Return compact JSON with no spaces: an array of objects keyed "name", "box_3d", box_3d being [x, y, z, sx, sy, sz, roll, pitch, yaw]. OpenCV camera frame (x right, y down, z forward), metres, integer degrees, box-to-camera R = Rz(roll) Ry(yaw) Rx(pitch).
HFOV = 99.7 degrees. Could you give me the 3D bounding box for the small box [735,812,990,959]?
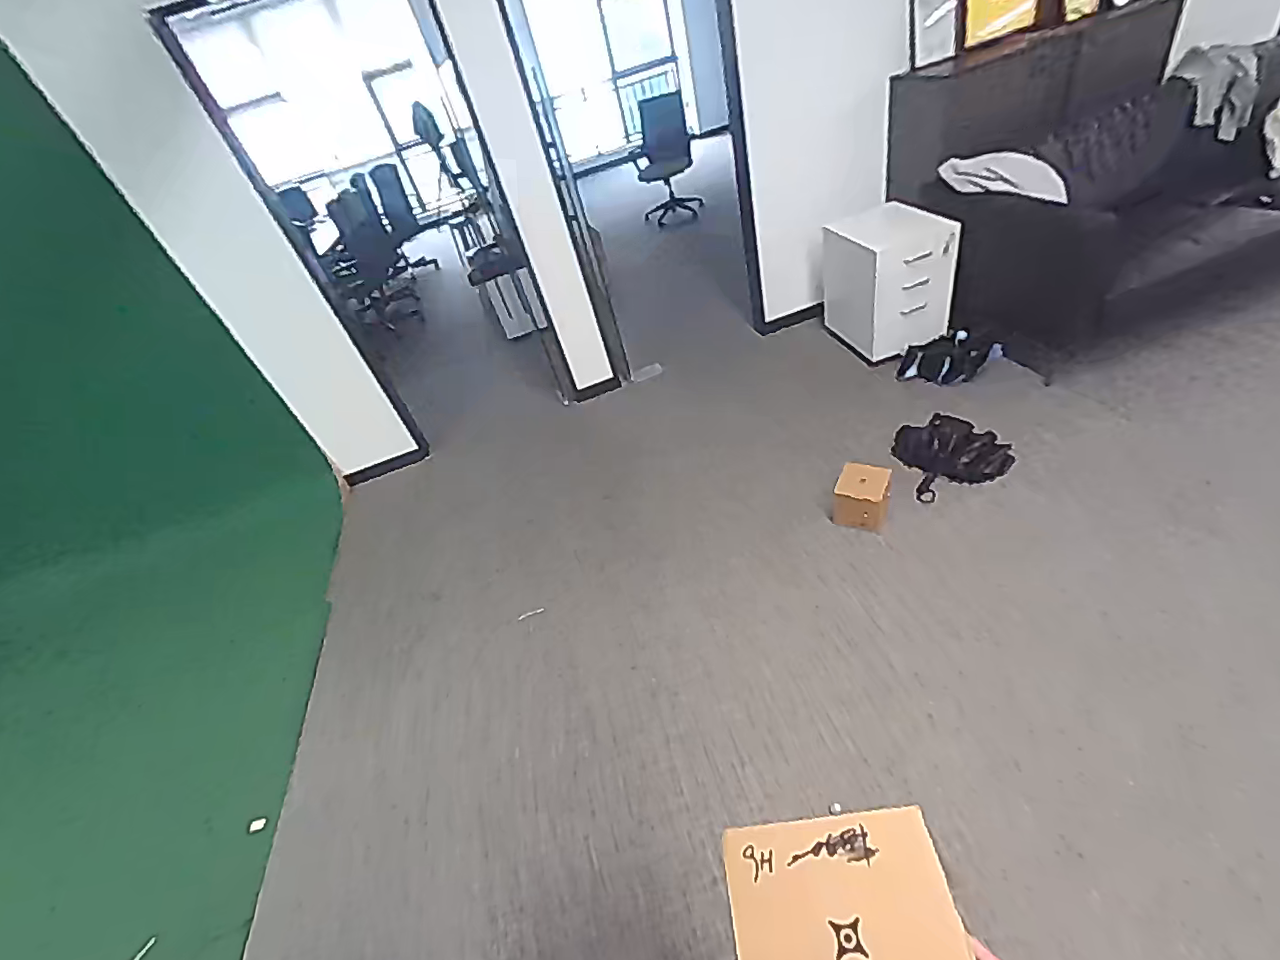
[{"name":"small box","box_3d":[0.182,0.396,0.439,0.168,0.176,0.179,-12,44,8]}]
